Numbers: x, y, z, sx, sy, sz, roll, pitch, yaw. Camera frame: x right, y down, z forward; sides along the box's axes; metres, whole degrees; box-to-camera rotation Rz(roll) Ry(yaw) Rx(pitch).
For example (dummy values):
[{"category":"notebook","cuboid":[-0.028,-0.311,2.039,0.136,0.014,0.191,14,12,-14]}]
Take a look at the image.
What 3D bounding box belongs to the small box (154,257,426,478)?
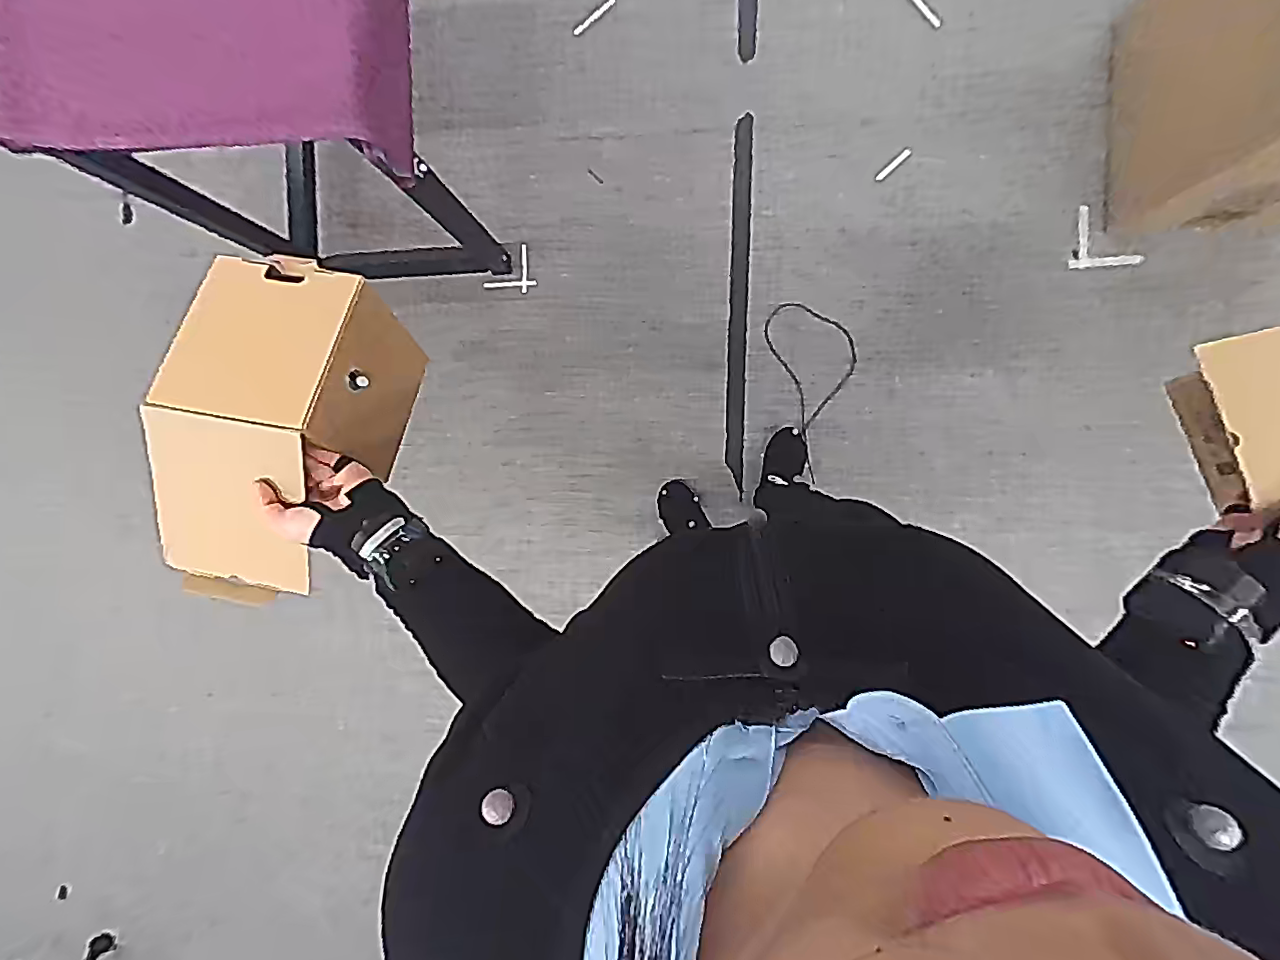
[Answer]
[{"category":"small box","cuboid":[-0.368,-0.115,0.611,0.168,0.176,0.179,10,72,5]}]
